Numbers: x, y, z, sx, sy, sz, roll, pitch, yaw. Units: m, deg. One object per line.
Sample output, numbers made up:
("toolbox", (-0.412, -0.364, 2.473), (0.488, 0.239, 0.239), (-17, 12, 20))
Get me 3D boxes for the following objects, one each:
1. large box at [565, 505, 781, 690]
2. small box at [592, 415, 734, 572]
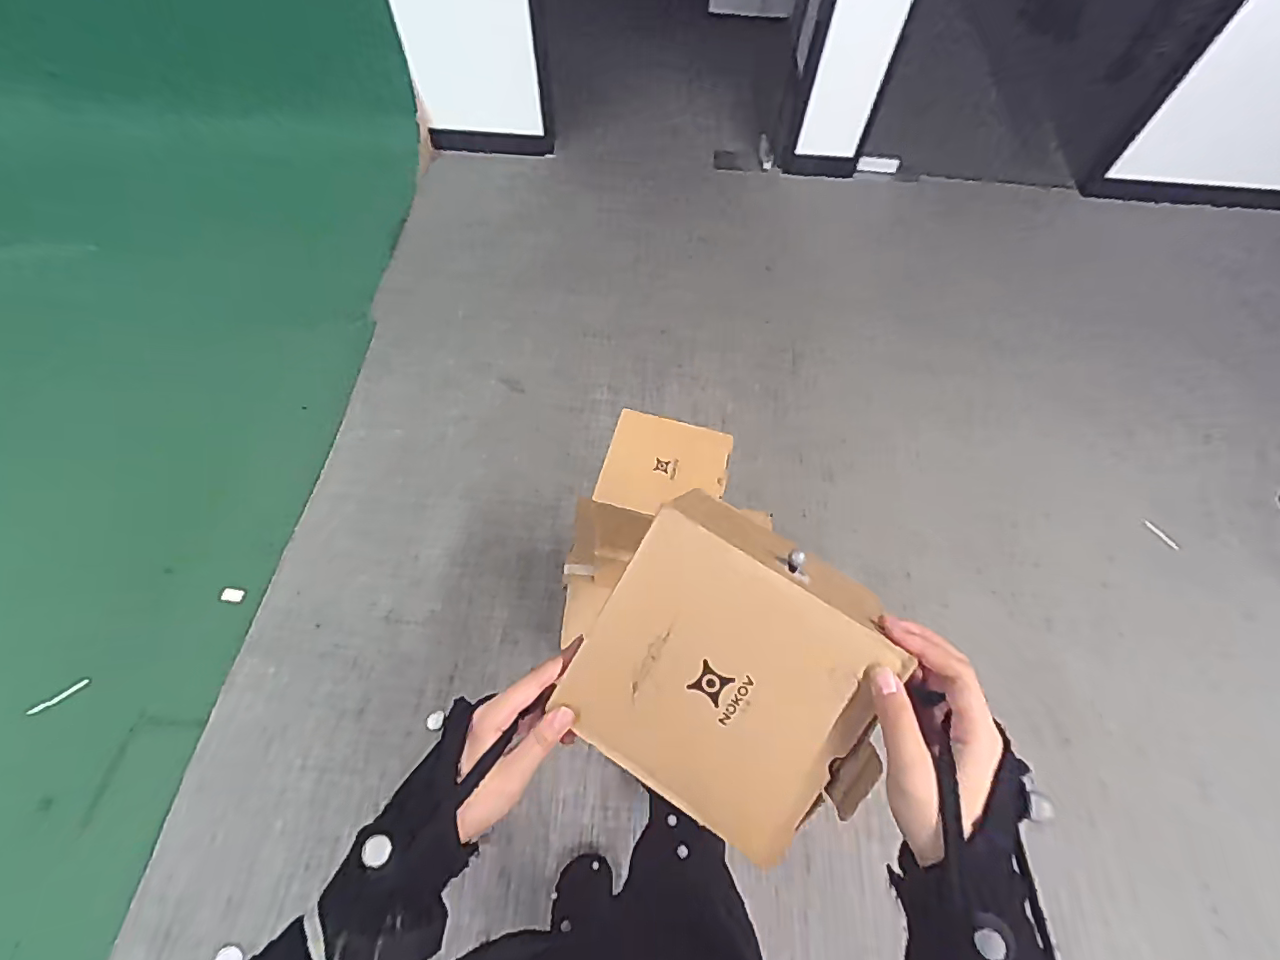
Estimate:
("large box", (0.058, 0.268, 1.181), (0.408, 0.320, 0.320), (4, 62, -1))
("small box", (0.033, 0.028, 0.848), (0.179, 0.176, 0.168), (15, 61, 5))
